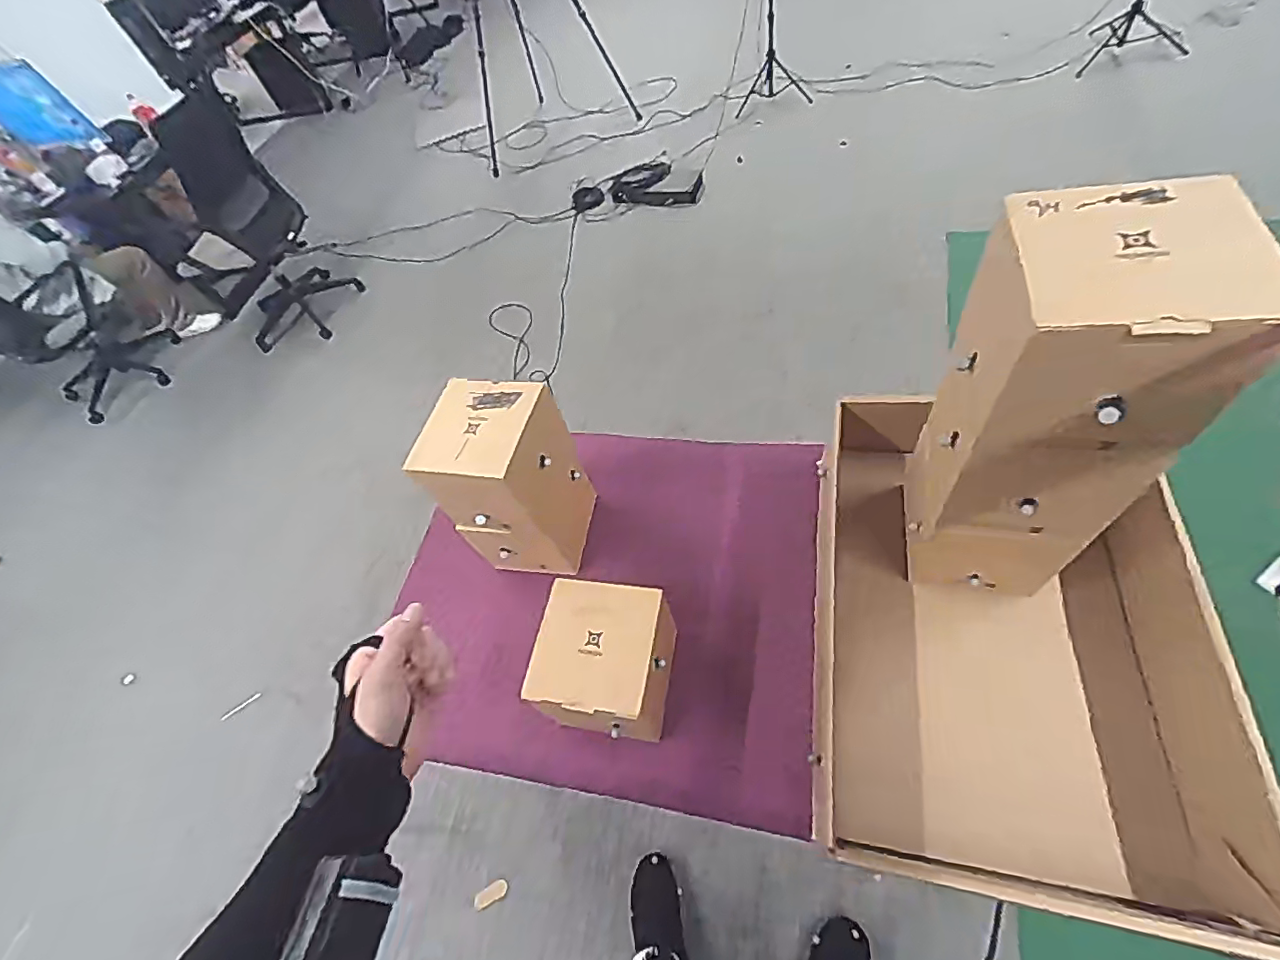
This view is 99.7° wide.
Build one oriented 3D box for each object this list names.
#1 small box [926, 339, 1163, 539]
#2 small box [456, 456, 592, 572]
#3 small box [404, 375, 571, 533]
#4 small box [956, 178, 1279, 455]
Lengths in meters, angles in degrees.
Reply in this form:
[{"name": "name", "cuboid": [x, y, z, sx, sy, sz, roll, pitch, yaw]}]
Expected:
[{"name": "small box", "cuboid": [0.441, -0.048, 0.626, 0.168, 0.176, 0.179, 5, 59, 17]}, {"name": "small box", "cuboid": [-0.197, 0.053, 0.977, 0.168, 0.176, 0.179, 2, 57, 15]}, {"name": "small box", "cuboid": [-0.221, -0.039, 0.843, 0.168, 0.176, 0.179, 6, 59, 17]}, {"name": "small box", "cuboid": [0.405, -0.137, 0.494, 0.168, 0.176, 0.179, 3, 59, 16]}]
